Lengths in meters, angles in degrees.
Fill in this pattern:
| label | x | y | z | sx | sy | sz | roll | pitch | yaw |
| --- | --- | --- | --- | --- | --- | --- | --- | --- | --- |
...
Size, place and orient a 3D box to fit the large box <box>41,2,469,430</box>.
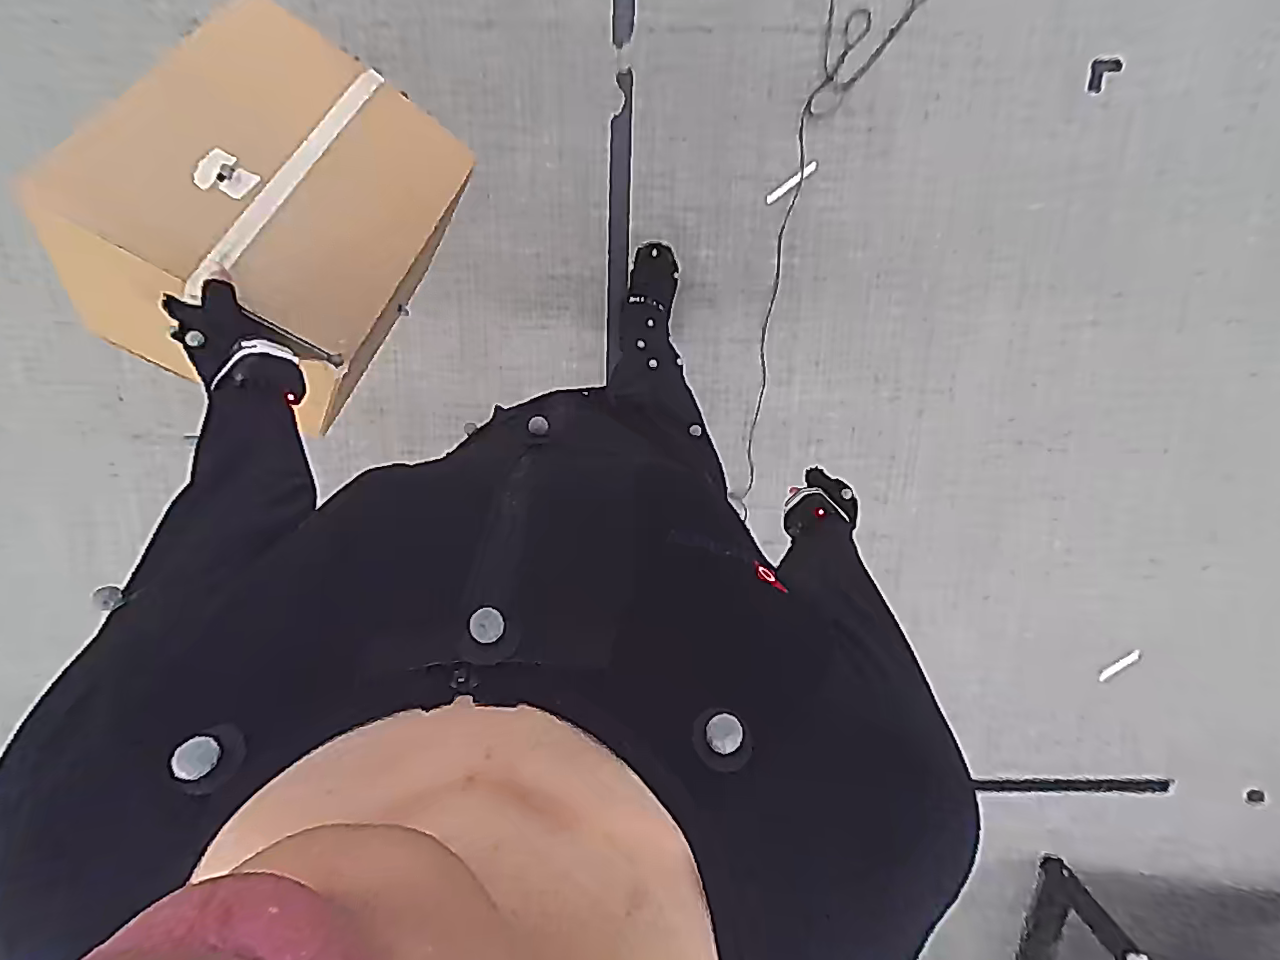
| label | x | y | z | sx | sy | sz | roll | pitch | yaw |
| --- | --- | --- | --- | --- | --- | --- | --- | --- | --- |
| large box | -0.510 | -0.349 | 0.800 | 0.320 | 0.320 | 0.408 | 29 | 64 | -24 |
